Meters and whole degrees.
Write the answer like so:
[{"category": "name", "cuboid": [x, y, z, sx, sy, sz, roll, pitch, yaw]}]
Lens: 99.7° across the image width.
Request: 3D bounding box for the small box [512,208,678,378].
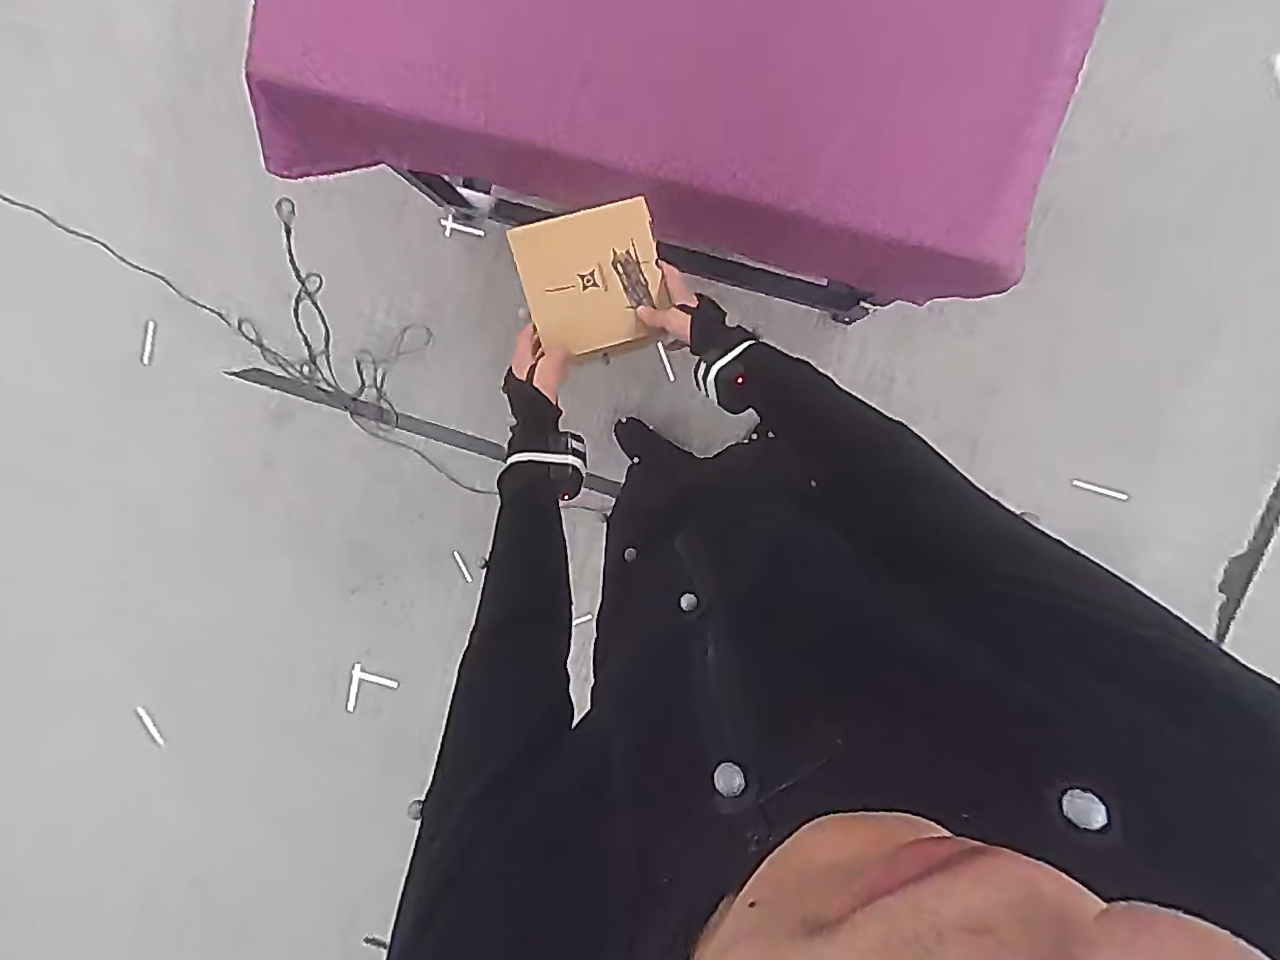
[{"category": "small box", "cuboid": [-0.065, -0.247, 0.753, 0.179, 0.176, 0.168, -17, 98, -5]}]
